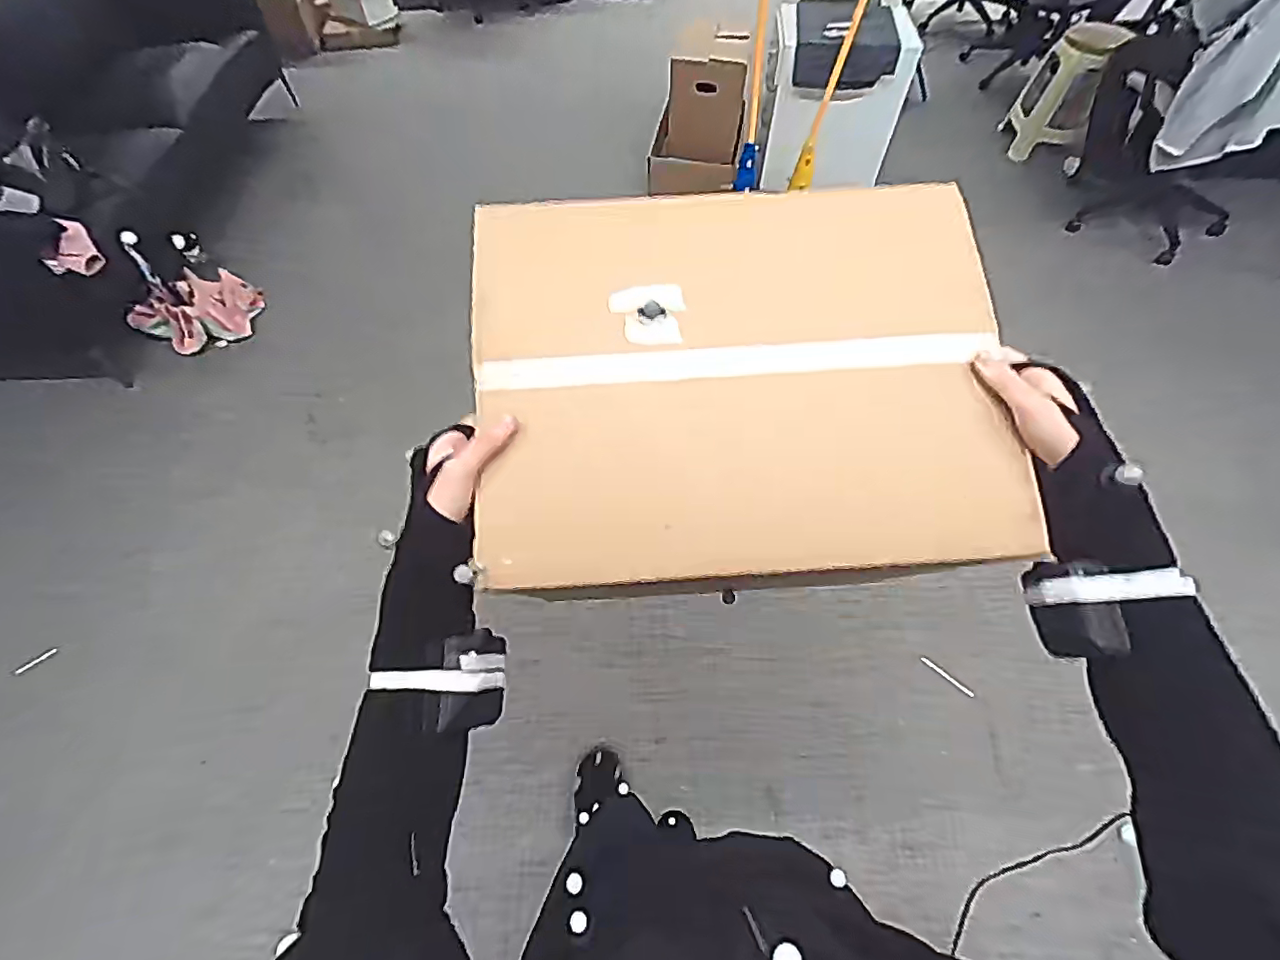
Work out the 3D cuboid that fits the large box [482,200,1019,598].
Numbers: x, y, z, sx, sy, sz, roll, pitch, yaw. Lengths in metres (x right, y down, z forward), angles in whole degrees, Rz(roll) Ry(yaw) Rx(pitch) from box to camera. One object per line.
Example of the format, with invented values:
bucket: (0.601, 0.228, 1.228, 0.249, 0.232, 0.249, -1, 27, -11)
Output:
large box: (0.076, -0.045, 0.574, 0.408, 0.320, 0.320, -4, 76, 0)
